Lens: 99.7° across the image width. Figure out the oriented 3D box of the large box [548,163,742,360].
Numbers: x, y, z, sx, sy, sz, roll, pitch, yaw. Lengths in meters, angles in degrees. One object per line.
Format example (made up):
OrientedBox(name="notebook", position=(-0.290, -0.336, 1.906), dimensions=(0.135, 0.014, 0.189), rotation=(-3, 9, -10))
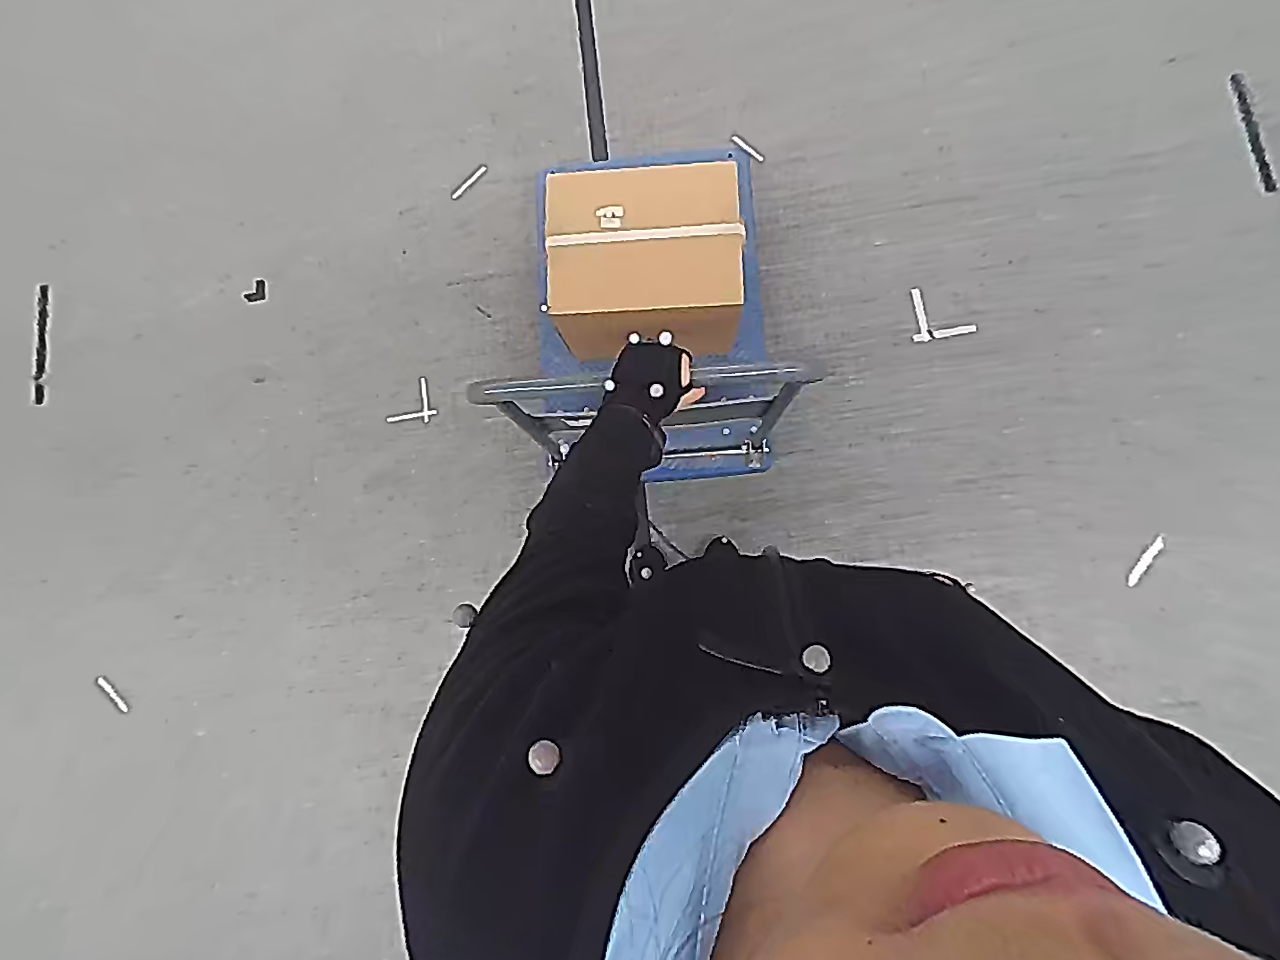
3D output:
OrientedBox(name="large box", position=(0.019, -0.487, 1.277), dimensions=(0.408, 0.320, 0.320), rotation=(-2, 83, 5))
